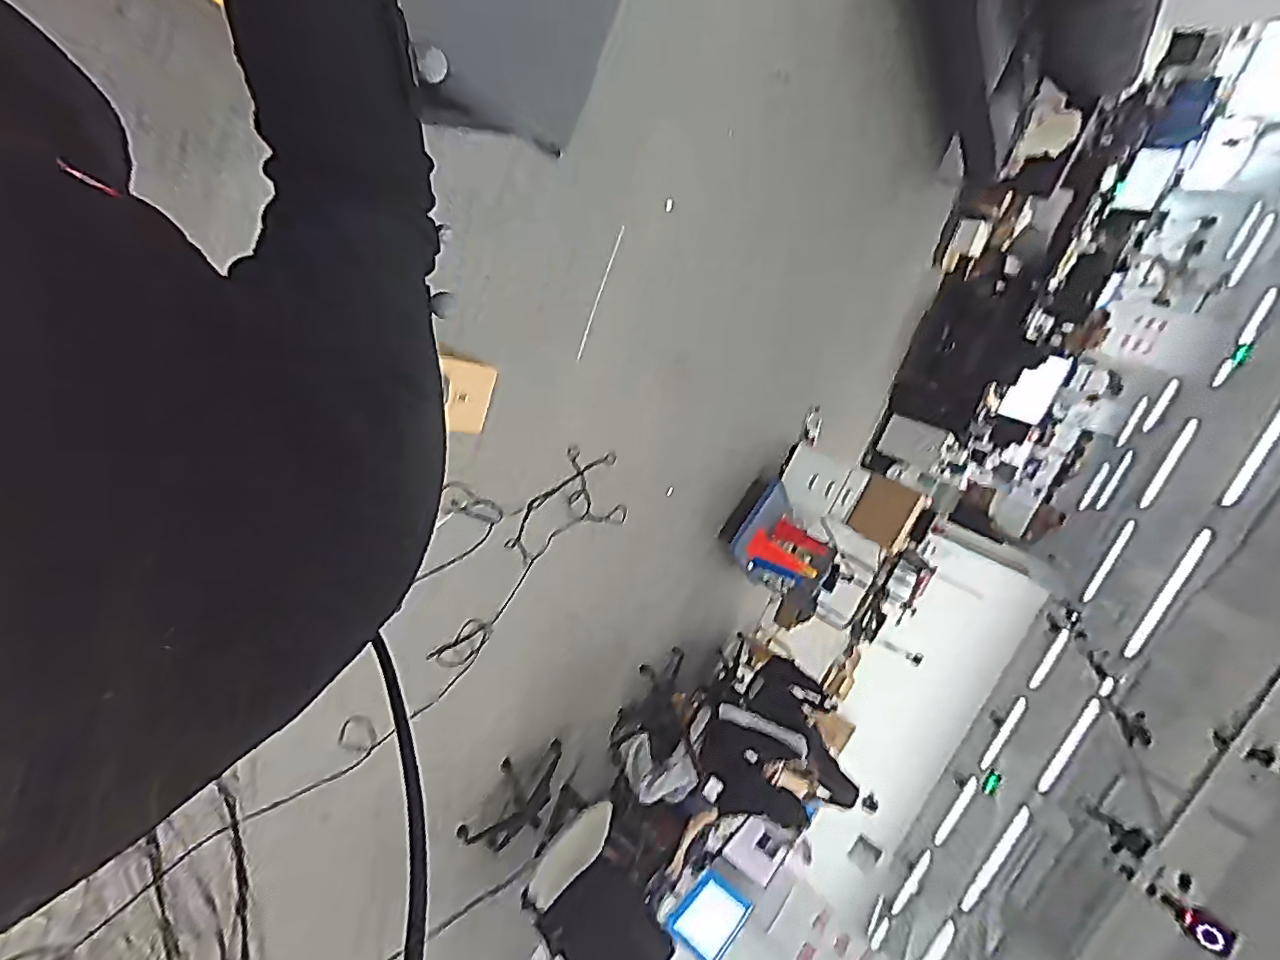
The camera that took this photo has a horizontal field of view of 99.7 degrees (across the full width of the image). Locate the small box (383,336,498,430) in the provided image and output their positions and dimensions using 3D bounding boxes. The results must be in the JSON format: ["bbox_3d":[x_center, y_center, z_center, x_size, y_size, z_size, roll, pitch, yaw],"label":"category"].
[{"bbox_3d":[-0.471,-0.227,1.267,0.179,0.176,0.168,-3,117,-55],"label":"small box"}]
